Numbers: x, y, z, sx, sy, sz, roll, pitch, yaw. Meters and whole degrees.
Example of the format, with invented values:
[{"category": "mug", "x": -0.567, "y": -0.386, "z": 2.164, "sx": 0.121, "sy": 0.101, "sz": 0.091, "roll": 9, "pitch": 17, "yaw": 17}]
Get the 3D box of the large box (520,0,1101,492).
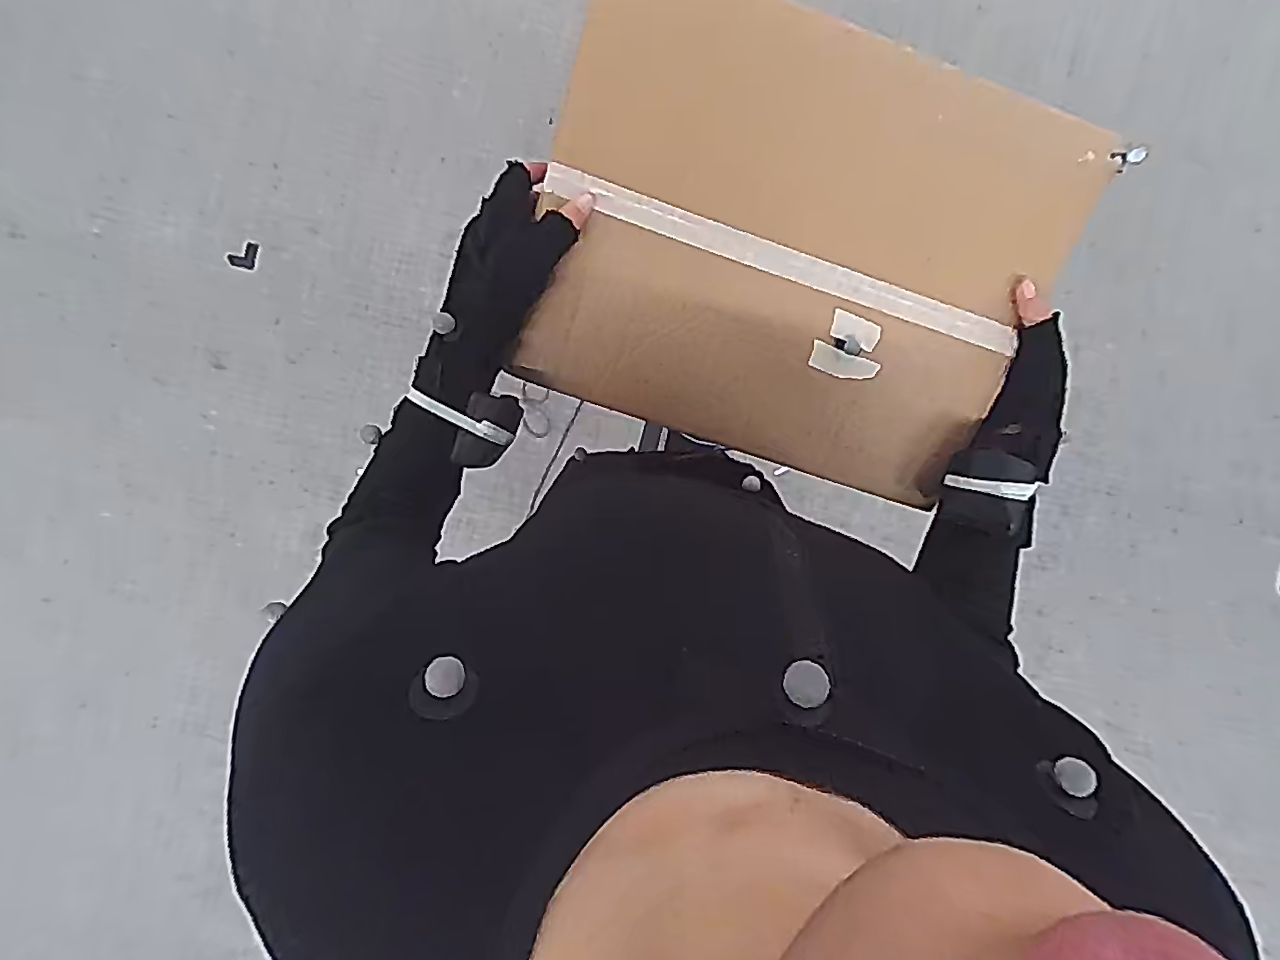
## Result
[{"category": "large box", "x": 0.125, "y": -0.229, "z": 0.588, "sx": 0.408, "sy": 0.320, "sz": 0.320, "roll": 18, "pitch": 109, "yaw": -6}]
